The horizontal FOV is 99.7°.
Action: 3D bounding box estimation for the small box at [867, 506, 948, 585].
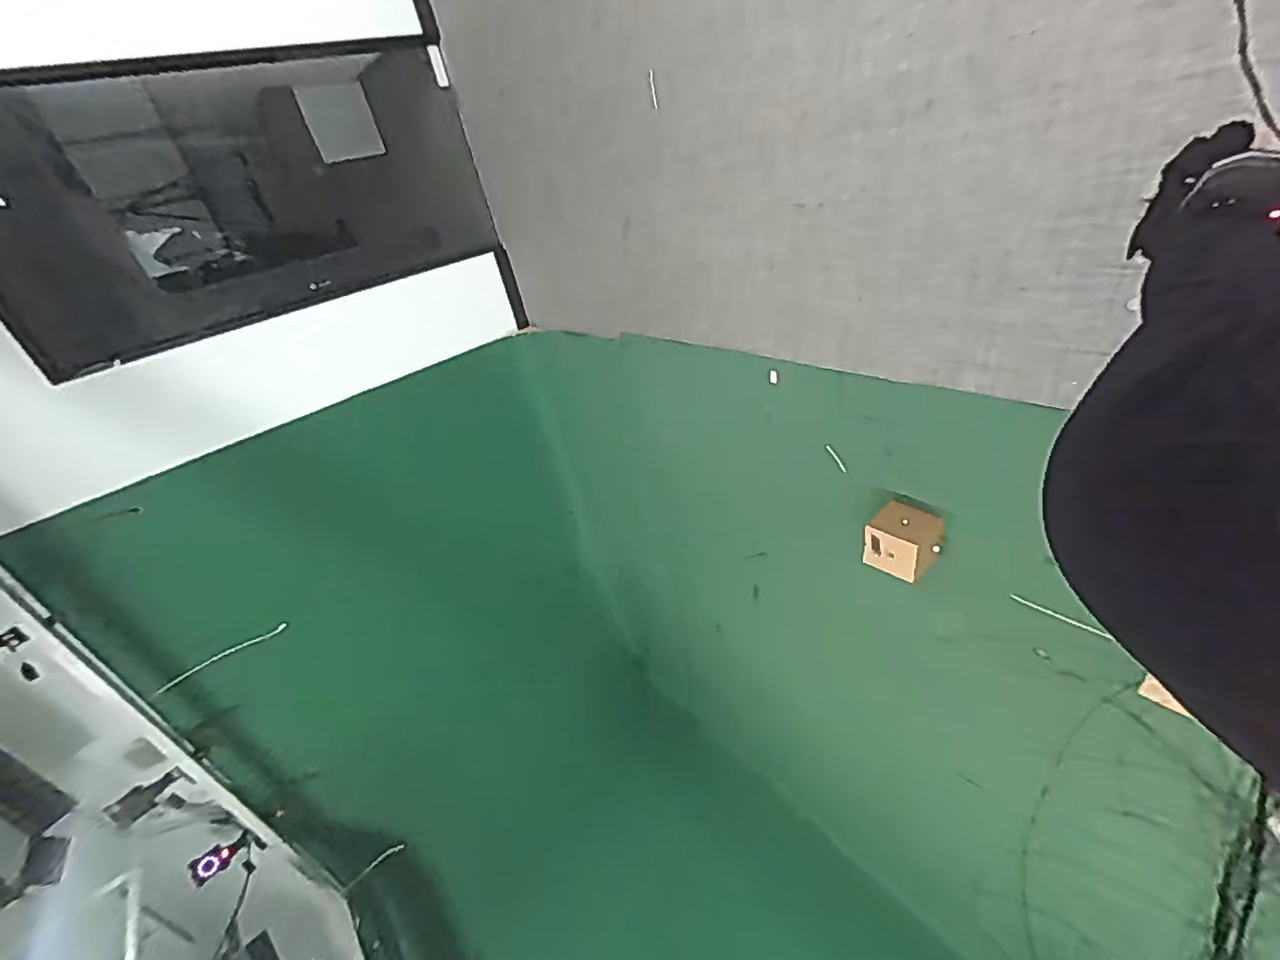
[{"bbox_3d":[0.880,0.208,1.784,0.179,0.176,0.168,26,139,44],"label":"small box"}]
